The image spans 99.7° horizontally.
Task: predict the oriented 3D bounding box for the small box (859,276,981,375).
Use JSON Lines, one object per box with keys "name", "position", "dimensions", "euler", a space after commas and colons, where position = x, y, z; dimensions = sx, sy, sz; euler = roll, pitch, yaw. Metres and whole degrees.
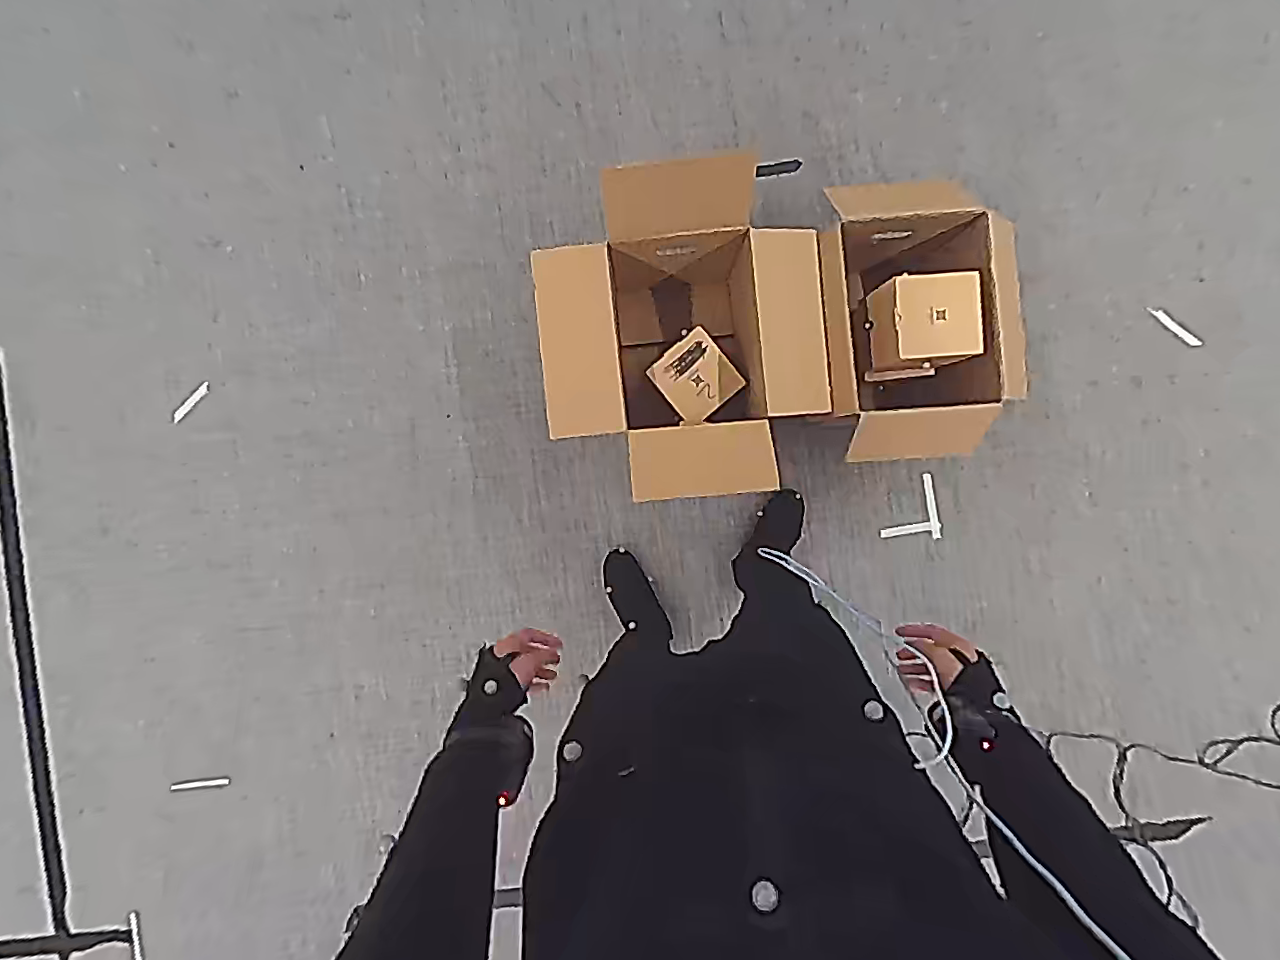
{"name": "small box", "position": [0.592, -0.323, 1.157], "dimensions": [0.179, 0.176, 0.168], "euler": [-5, 92, 0]}
